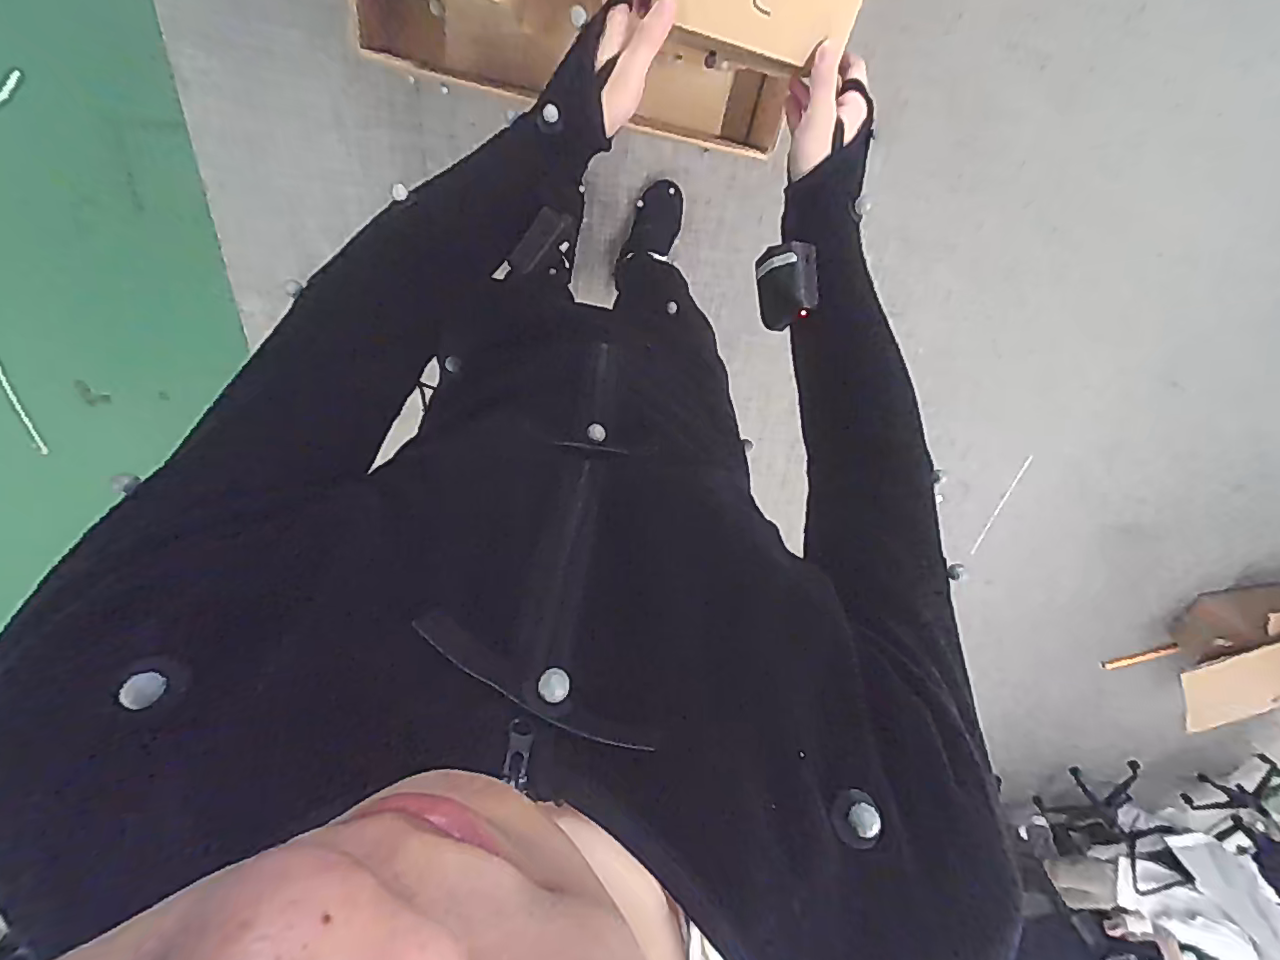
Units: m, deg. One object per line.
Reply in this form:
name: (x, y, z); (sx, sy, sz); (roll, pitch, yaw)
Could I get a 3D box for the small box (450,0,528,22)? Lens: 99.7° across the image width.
small box: (-0.174, -0.517, 0.449); (0.179, 0.176, 0.168); (12, 123, -15)

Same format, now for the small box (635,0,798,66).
small box: (0.092, -0.600, 0.617); (0.168, 0.176, 0.179); (7, 124, -12)

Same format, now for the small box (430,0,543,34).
small box: (-0.183, -0.615, 0.581); (0.168, 0.176, 0.179); (10, 123, -13)
